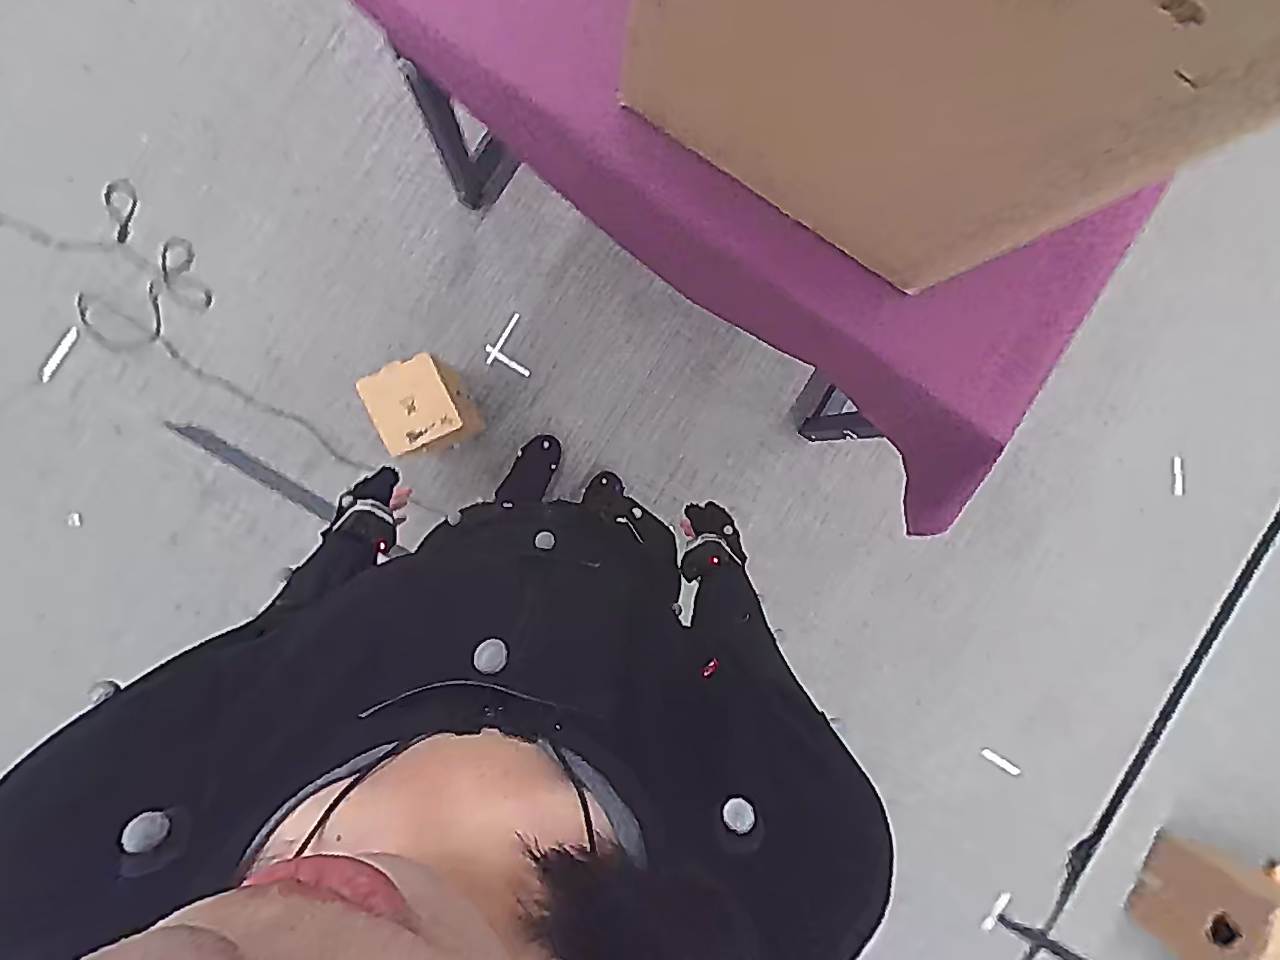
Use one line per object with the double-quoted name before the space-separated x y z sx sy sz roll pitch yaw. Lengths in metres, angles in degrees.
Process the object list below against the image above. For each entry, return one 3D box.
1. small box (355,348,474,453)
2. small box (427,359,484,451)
"small box" -0.492 -0.168 1.206 0.168 0.176 0.179 -25 95 -5
"small box" -0.514 -0.182 1.368 0.168 0.176 0.179 -27 96 -5
